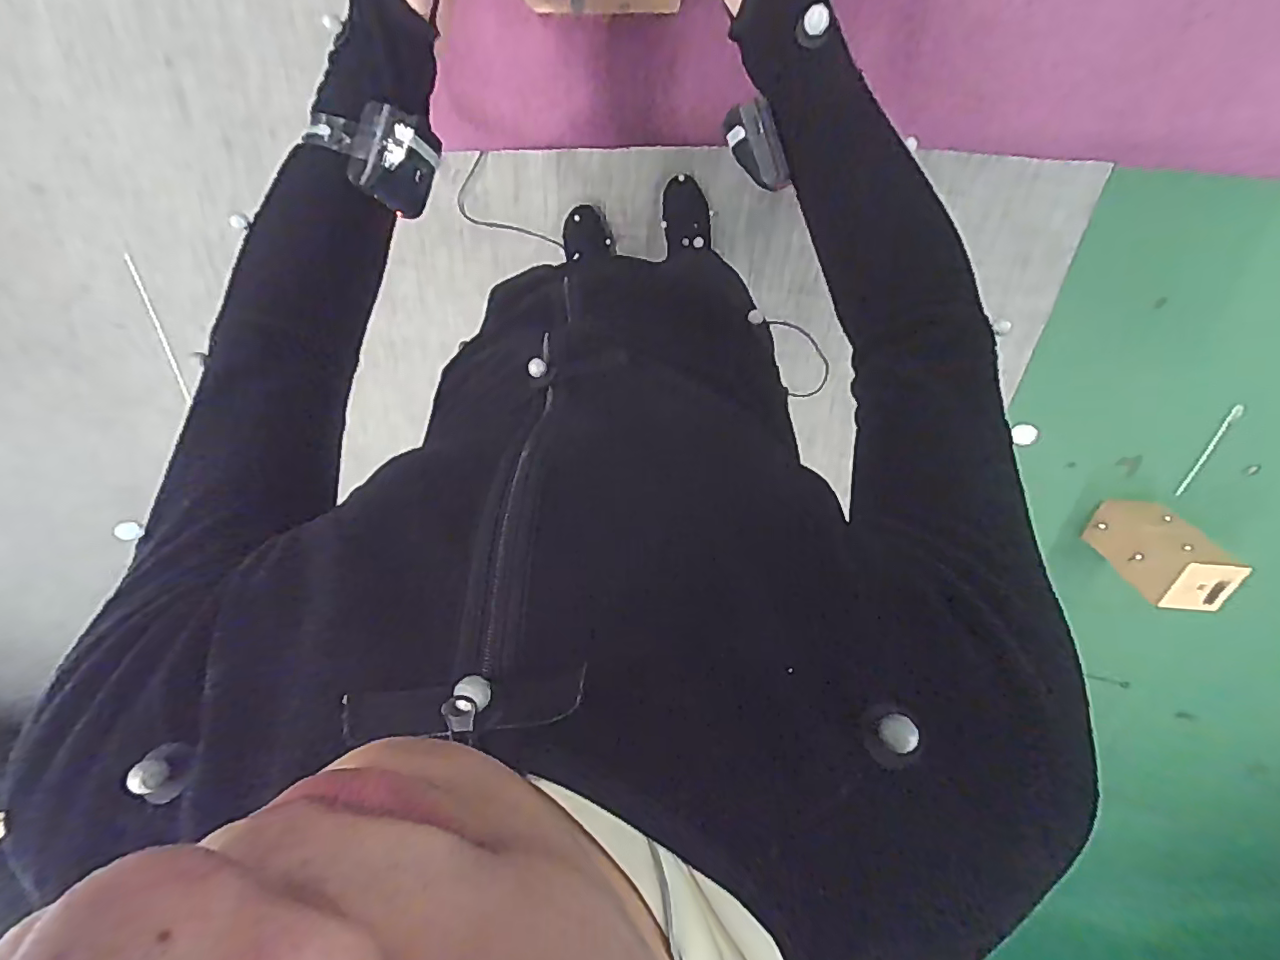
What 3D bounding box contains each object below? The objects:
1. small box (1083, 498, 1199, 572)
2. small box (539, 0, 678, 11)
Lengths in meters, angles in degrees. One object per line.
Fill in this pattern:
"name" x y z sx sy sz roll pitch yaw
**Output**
"small box" 1.589 0.172 1.729 0.179 0.176 0.168 5 121 -1
"small box" -0.039 -0.567 0.506 0.168 0.176 0.179 1 120 2
